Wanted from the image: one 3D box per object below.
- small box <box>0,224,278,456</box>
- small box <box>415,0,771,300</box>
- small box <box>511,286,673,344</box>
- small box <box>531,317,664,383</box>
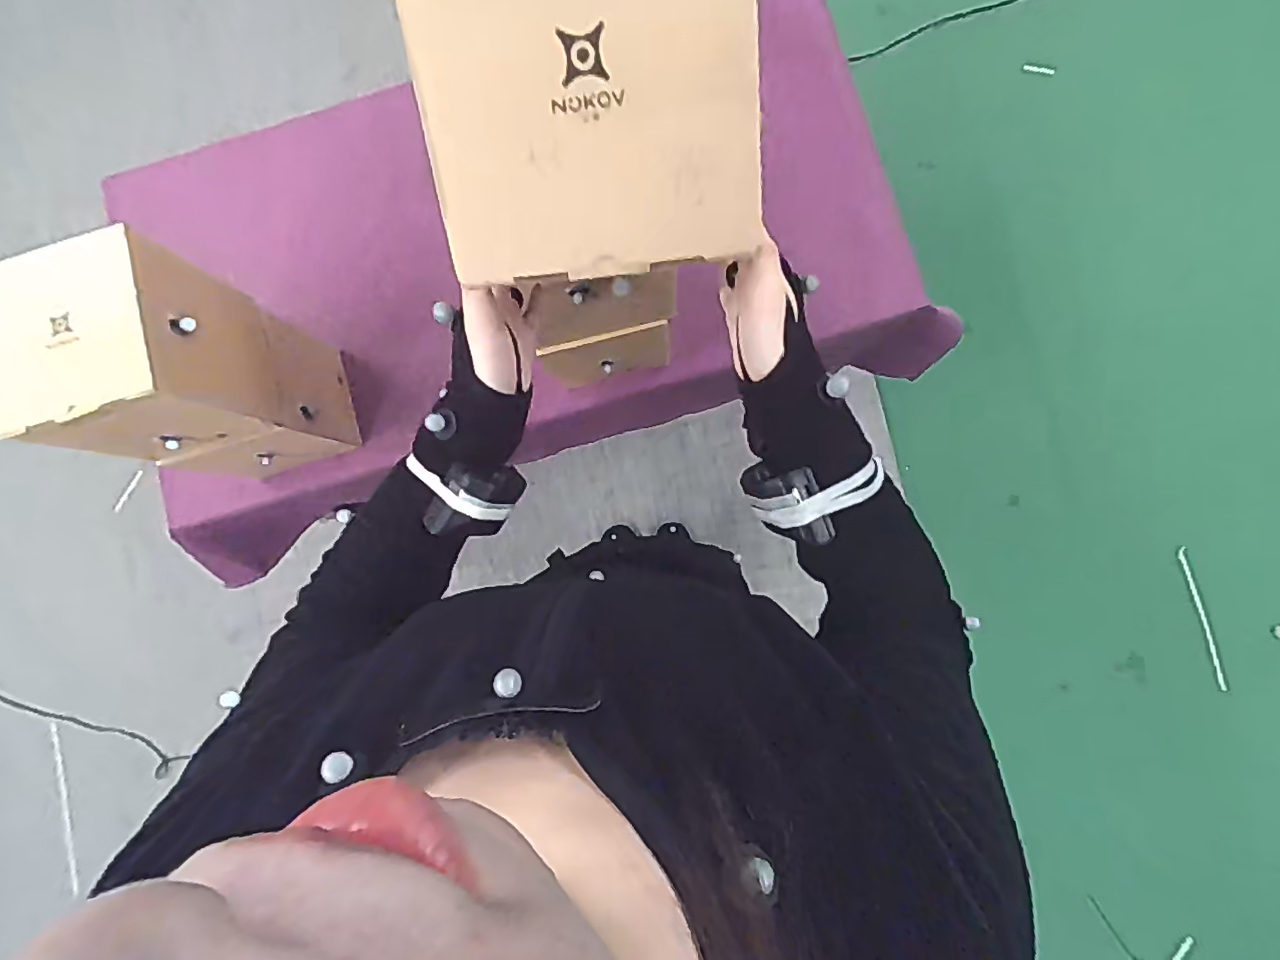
[{"bbox_3d":[-0.545,-0.138,0.595,0.168,0.176,0.179,-16,85,2],"label":"small box"},{"bbox_3d":[-0.015,-0.217,0.335,0.168,0.176,0.179,-3,113,4],"label":"small box"},{"bbox_3d":[-0.063,-0.262,0.581,0.179,0.176,0.168,-12,85,1],"label":"small box"},{"bbox_3d":[-0.062,-0.243,0.745,0.168,0.176,0.179,-13,84,1],"label":"small box"}]
